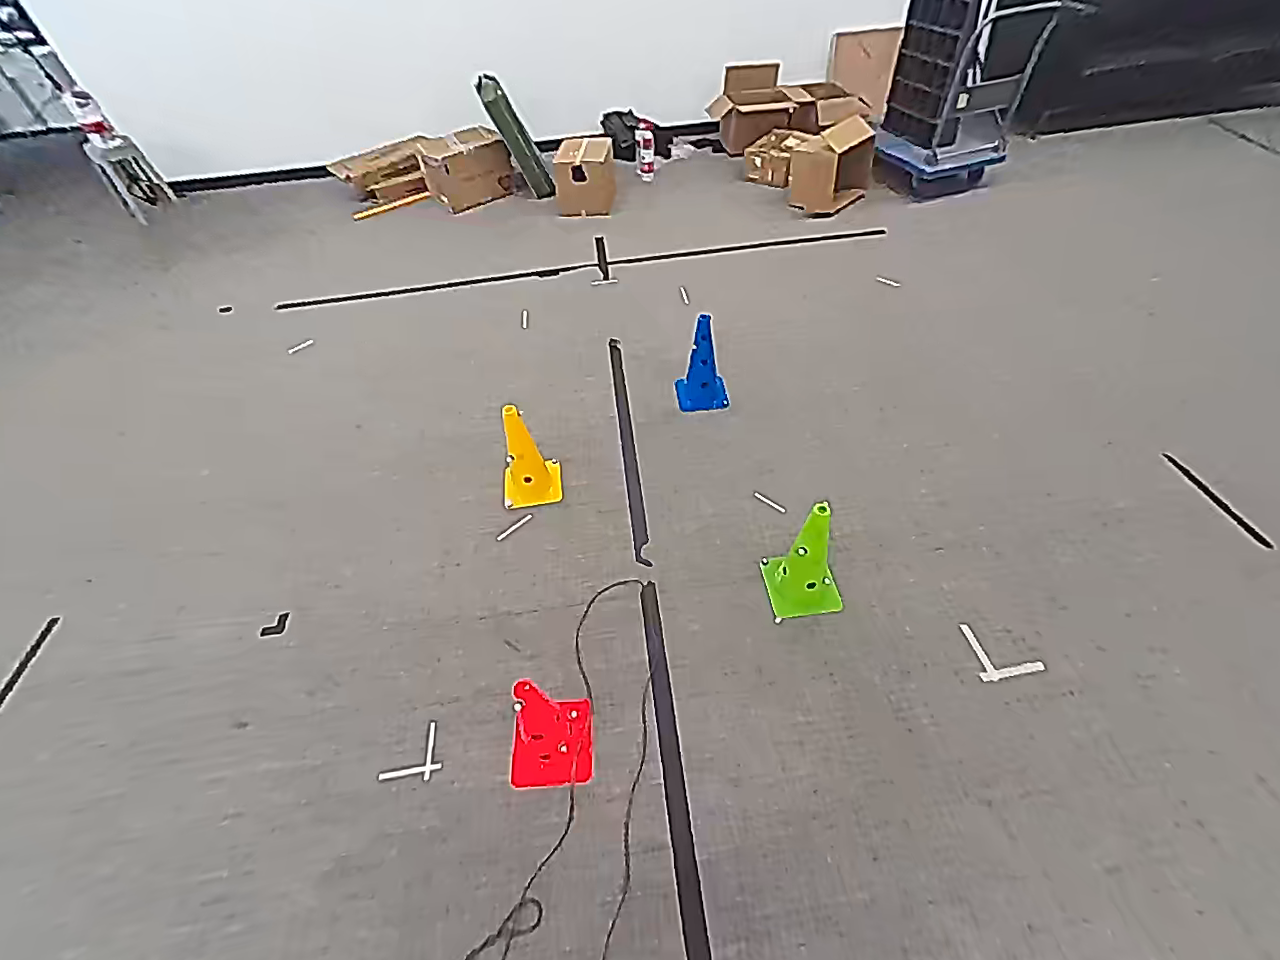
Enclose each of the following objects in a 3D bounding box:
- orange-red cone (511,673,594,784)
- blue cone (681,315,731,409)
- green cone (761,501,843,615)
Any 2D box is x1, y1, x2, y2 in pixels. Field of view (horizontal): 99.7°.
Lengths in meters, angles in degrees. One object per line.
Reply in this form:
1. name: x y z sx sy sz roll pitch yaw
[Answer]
1. orange-red cone: -0.229 0.532 1.228 0.199 0.360 0.198 -5 47 2
2. blue cone: 0.258 -0.463 2.084 0.192 0.380 0.193 -4 49 0
3. green cone: 0.468 0.189 1.470 0.202 0.368 0.200 -6 48 -2
